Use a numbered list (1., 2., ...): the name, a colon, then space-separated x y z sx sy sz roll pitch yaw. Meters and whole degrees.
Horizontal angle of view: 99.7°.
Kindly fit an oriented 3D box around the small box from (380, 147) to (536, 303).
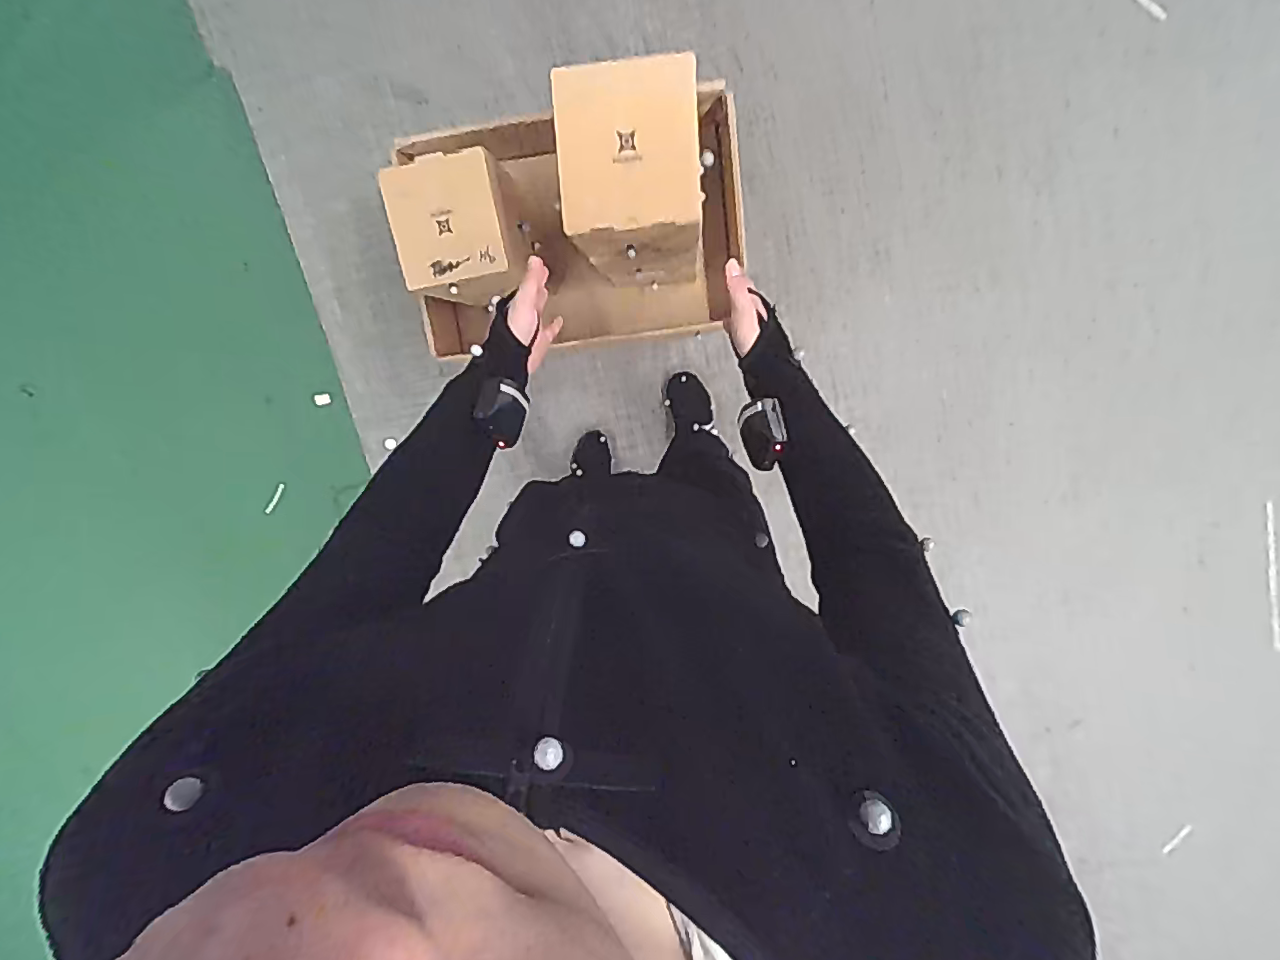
1. small box: -0.281 -0.397 0.873 0.168 0.176 0.179 -9 101 7

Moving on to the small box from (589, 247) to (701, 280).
1. small box: 0.008 -0.424 0.850 0.168 0.176 0.179 -3 102 5

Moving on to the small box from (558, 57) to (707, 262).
1. small box: -0.002 -0.391 0.691 0.168 0.176 0.179 -3 102 5

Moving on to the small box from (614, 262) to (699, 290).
1. small box: 0.024 -0.460 1.007 0.168 0.176 0.179 -2 102 5
